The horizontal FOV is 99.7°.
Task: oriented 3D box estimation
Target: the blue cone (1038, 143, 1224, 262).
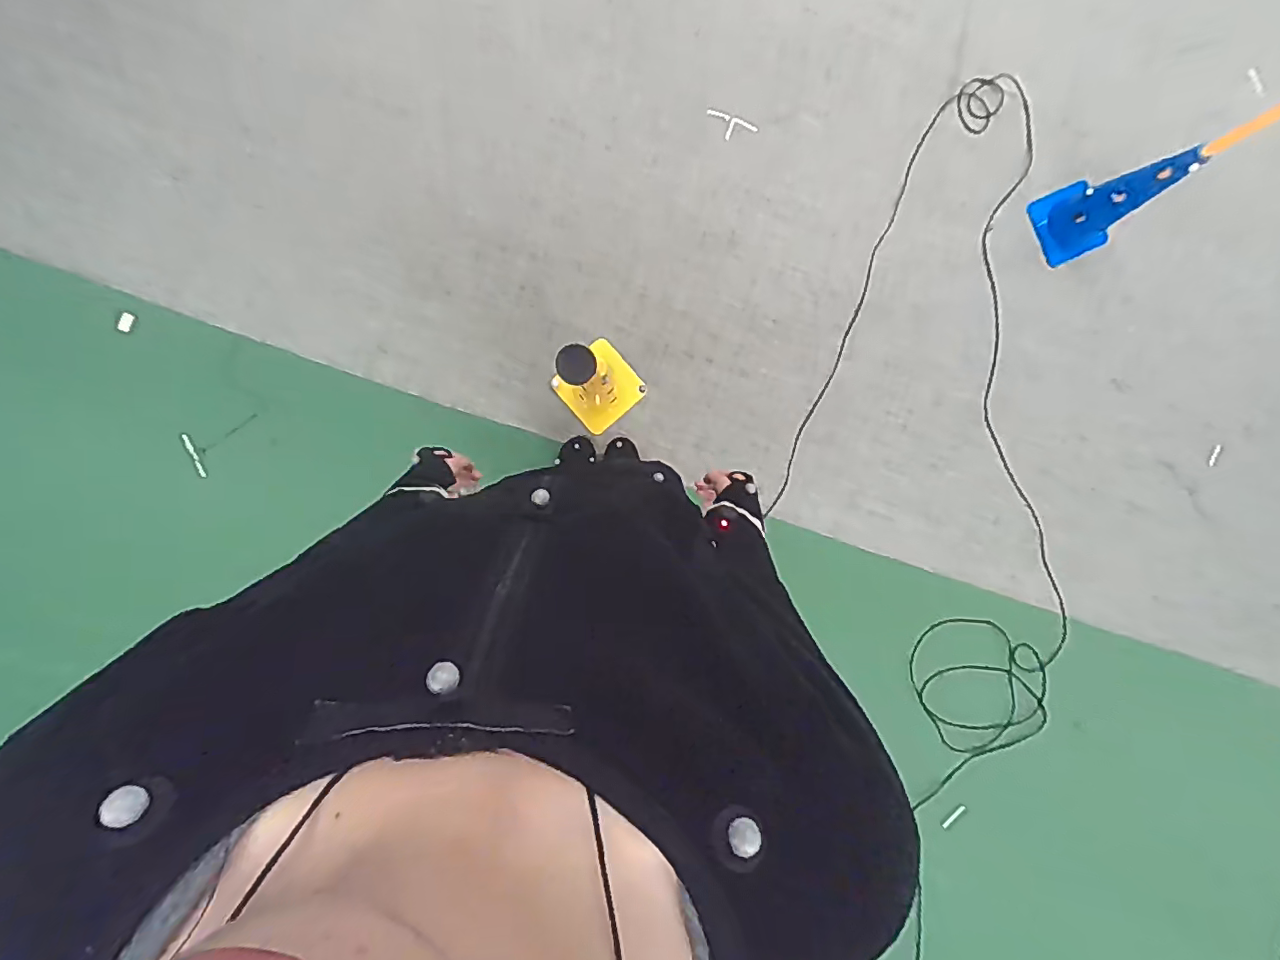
[{"bbox_3d":[1.256,-0.740,1.381,0.193,0.380,0.192,-27,94,-5],"label":"blue cone"}]
